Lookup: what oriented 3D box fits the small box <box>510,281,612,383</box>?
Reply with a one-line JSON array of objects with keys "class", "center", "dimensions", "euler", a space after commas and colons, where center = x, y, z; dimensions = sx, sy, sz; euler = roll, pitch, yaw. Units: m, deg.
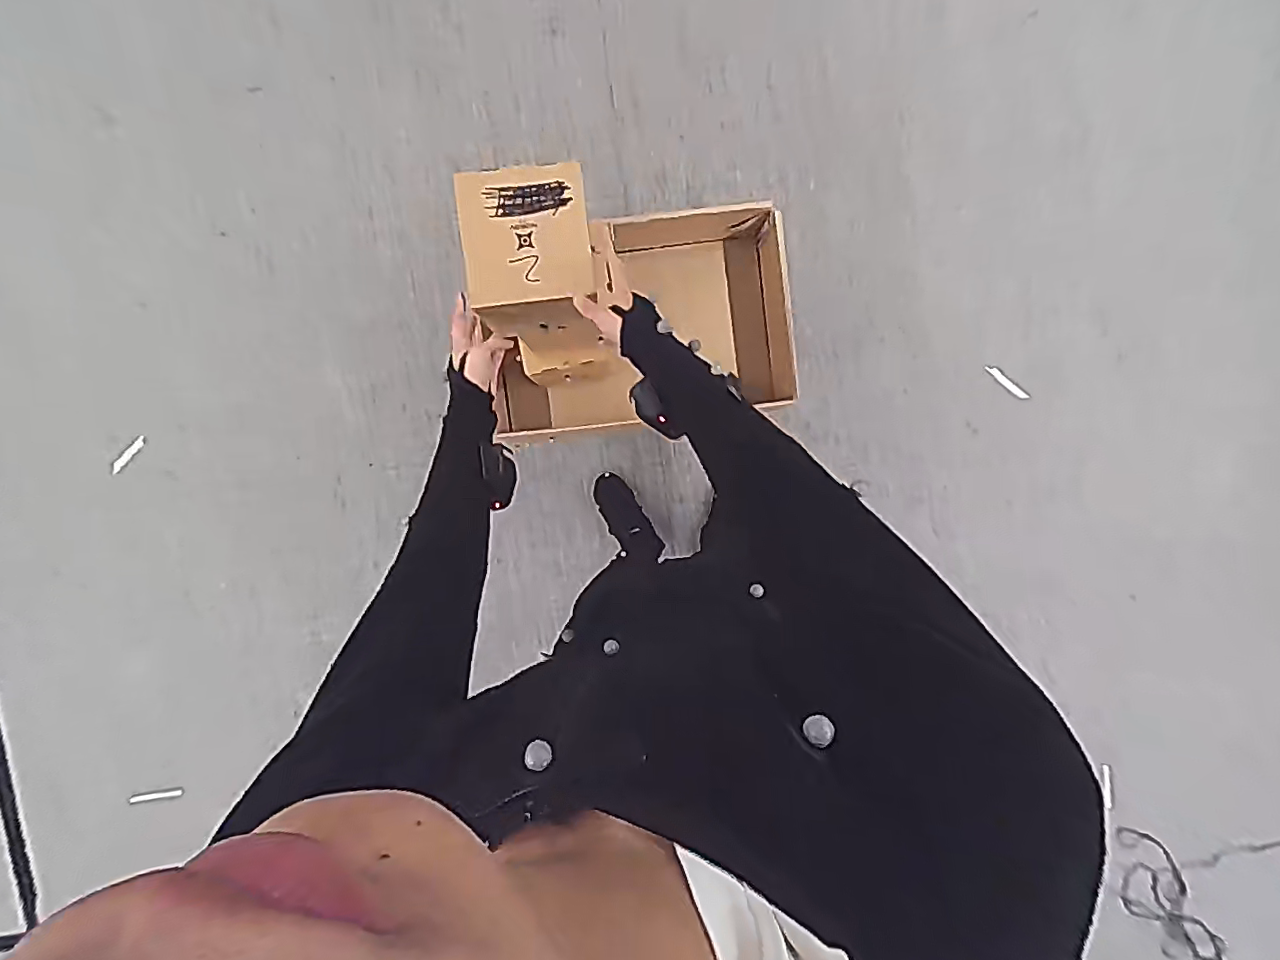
[{"class": "small box", "center": [-0.153, -0.307, 1.098], "dimensions": [0.168, 0.176, 0.179], "euler": [-12, 93, -1]}]

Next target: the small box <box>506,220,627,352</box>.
[{"class": "small box", "center": [-0.120, -0.325, 0.934], "dimensions": [0.179, 0.176, 0.168], "euler": [-7, 92, -2]}]
